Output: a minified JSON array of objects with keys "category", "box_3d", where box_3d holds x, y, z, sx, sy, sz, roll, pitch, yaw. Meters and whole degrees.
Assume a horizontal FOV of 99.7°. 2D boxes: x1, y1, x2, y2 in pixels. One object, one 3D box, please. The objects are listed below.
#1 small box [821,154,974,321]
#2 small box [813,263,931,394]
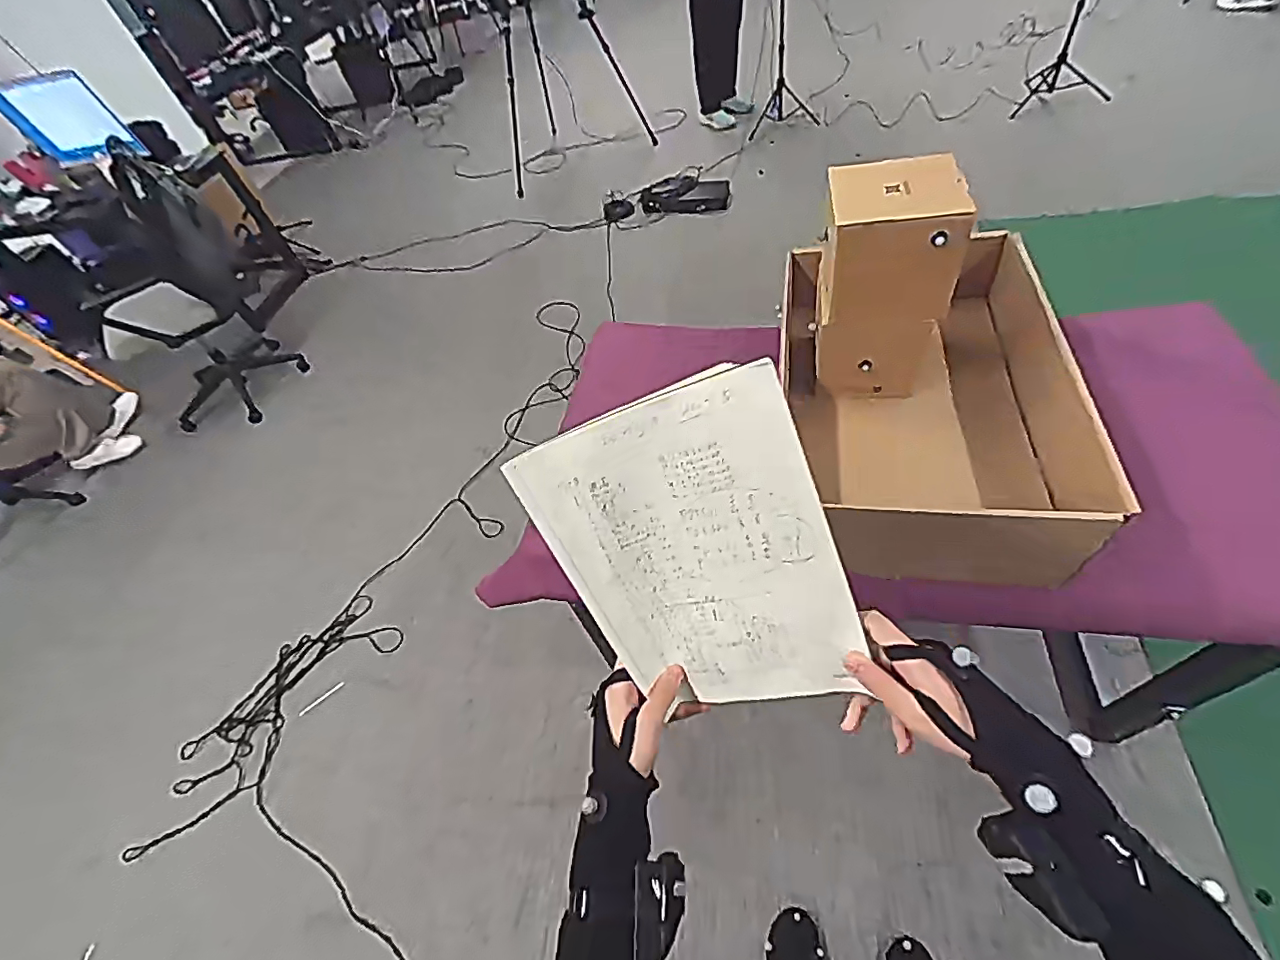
[{"category":"small box","box_3d":[0.371,-0.359,0.818,0.179,0.176,0.168,0,54,13]},{"category":"small box","box_3d":[0.395,-0.265,0.947,0.168,0.176,0.179,2,55,15]}]
